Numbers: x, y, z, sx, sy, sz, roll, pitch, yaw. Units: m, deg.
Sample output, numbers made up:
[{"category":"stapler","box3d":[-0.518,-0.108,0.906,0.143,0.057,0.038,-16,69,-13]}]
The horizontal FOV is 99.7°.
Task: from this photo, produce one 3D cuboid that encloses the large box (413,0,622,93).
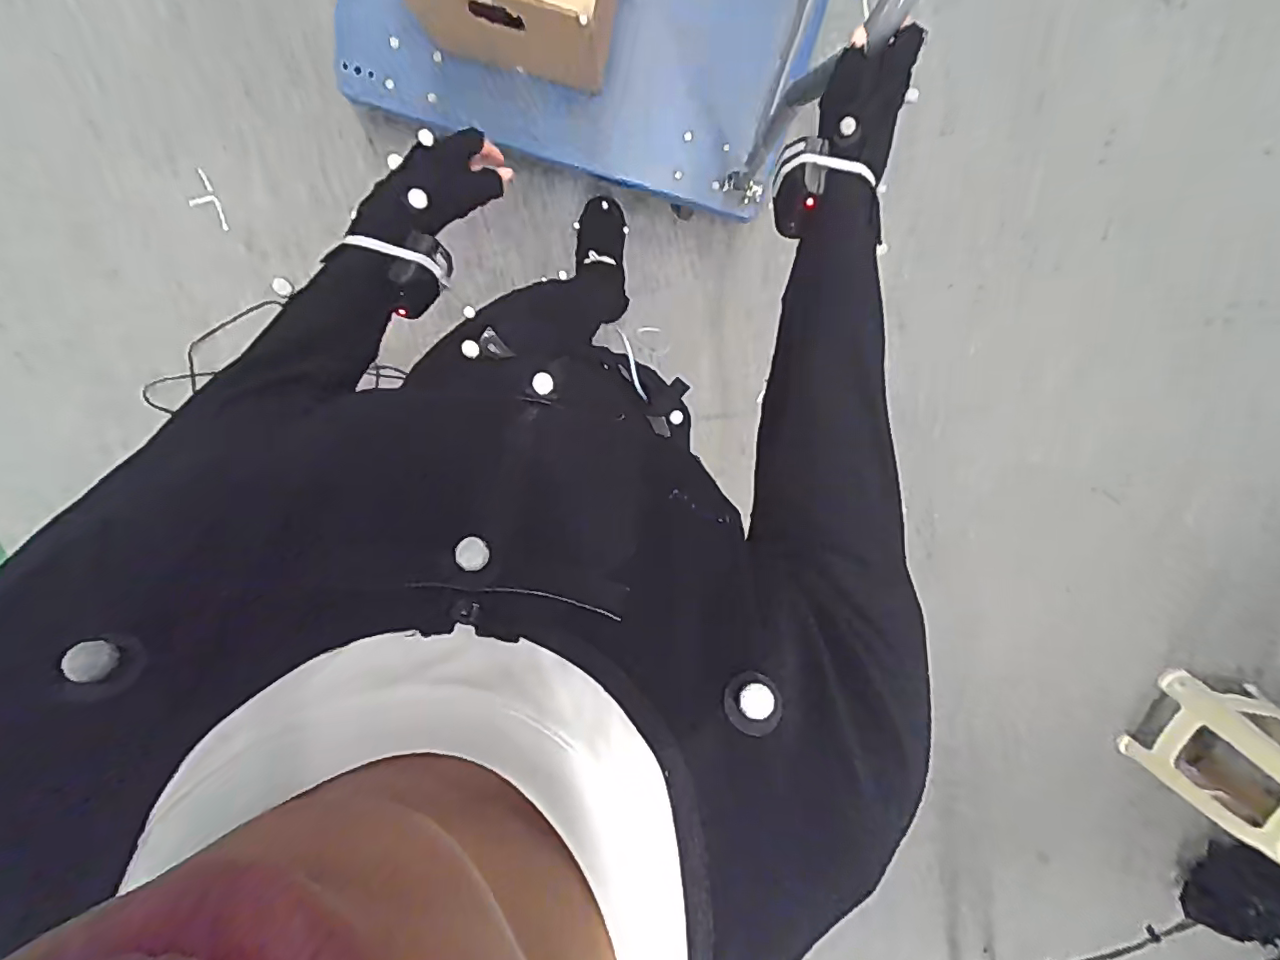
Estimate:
[{"category":"large box","box3d":[-0.169,-0.914,0.841,0.320,0.320,0.408,11,109,-5]}]
